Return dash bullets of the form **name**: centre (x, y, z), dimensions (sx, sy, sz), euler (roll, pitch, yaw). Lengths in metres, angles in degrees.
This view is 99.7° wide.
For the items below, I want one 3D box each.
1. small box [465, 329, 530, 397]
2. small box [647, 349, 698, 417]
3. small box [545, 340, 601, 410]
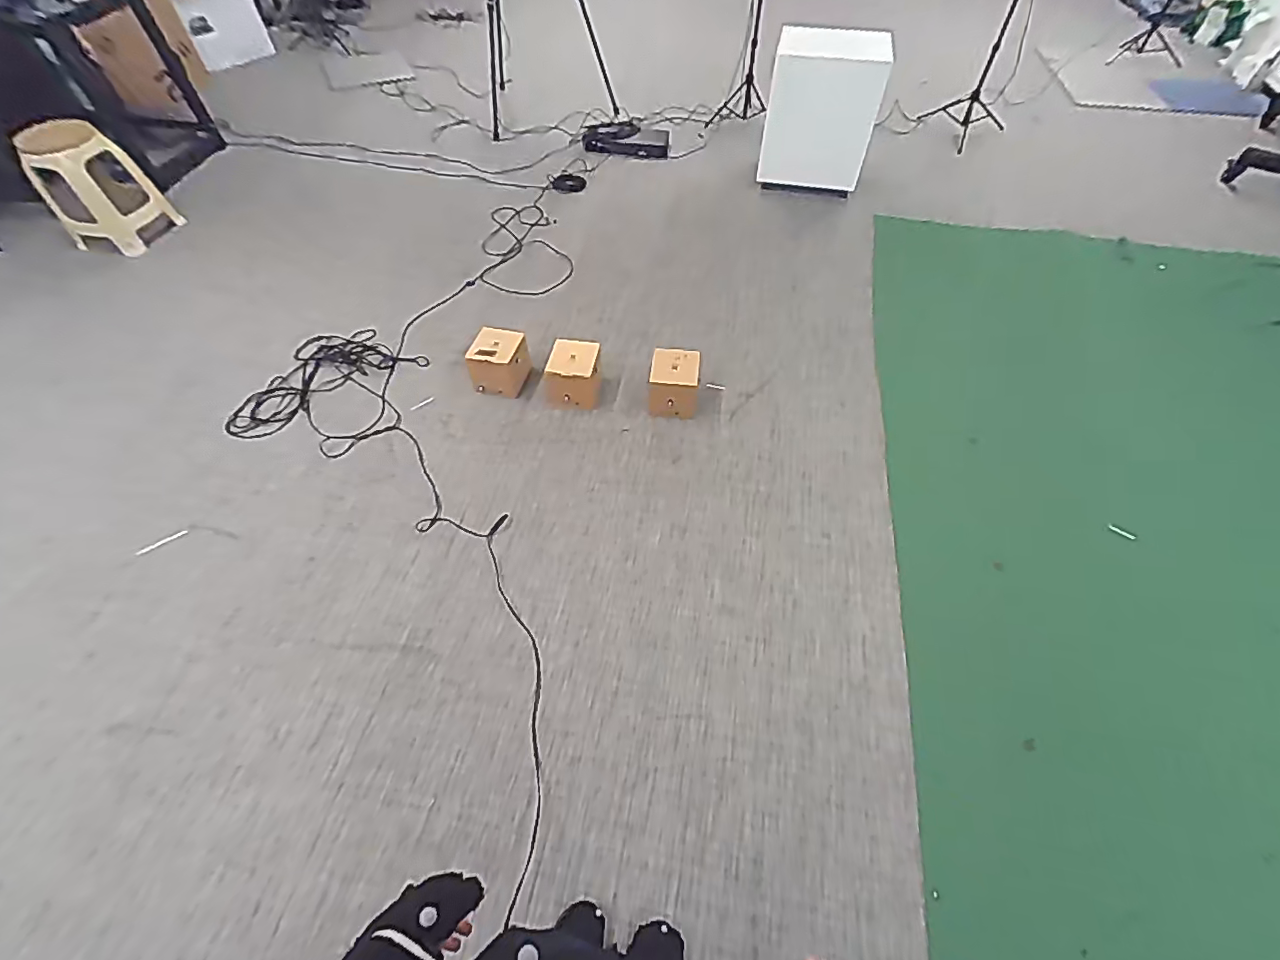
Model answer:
- **small box**: centre (-0.523, -0.435, 2.019), dimensions (0.168, 0.176, 0.179), euler (11, 54, 8)
- **small box**: centre (0.117, -0.345, 1.950), dimensions (0.168, 0.176, 0.179), euler (6, 55, 4)
- **small box**: centre (-0.239, -0.384, 1.982), dimensions (0.168, 0.176, 0.179), euler (7, 55, 5)
